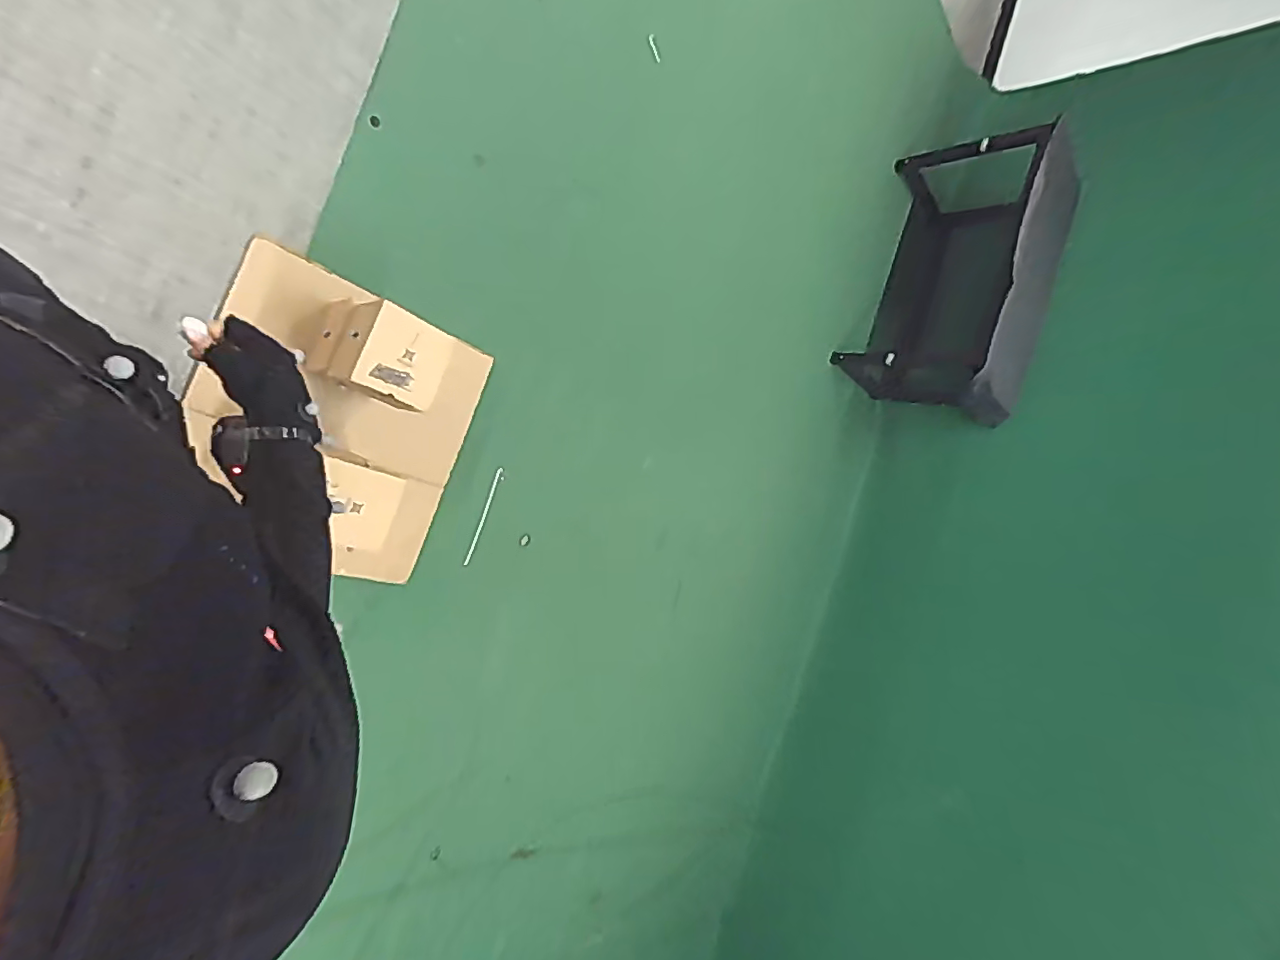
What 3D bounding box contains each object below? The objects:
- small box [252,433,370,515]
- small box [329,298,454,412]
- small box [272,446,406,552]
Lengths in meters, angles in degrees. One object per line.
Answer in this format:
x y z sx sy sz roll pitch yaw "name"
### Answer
-0.756 0.000 1.245 0.179 0.176 0.168 21 86 -45 "small box"
-0.534 -0.261 1.152 0.168 0.176 0.179 28 79 -45 "small box"
-0.635 0.036 1.137 0.179 0.176 0.168 24 83 -45 "small box"
